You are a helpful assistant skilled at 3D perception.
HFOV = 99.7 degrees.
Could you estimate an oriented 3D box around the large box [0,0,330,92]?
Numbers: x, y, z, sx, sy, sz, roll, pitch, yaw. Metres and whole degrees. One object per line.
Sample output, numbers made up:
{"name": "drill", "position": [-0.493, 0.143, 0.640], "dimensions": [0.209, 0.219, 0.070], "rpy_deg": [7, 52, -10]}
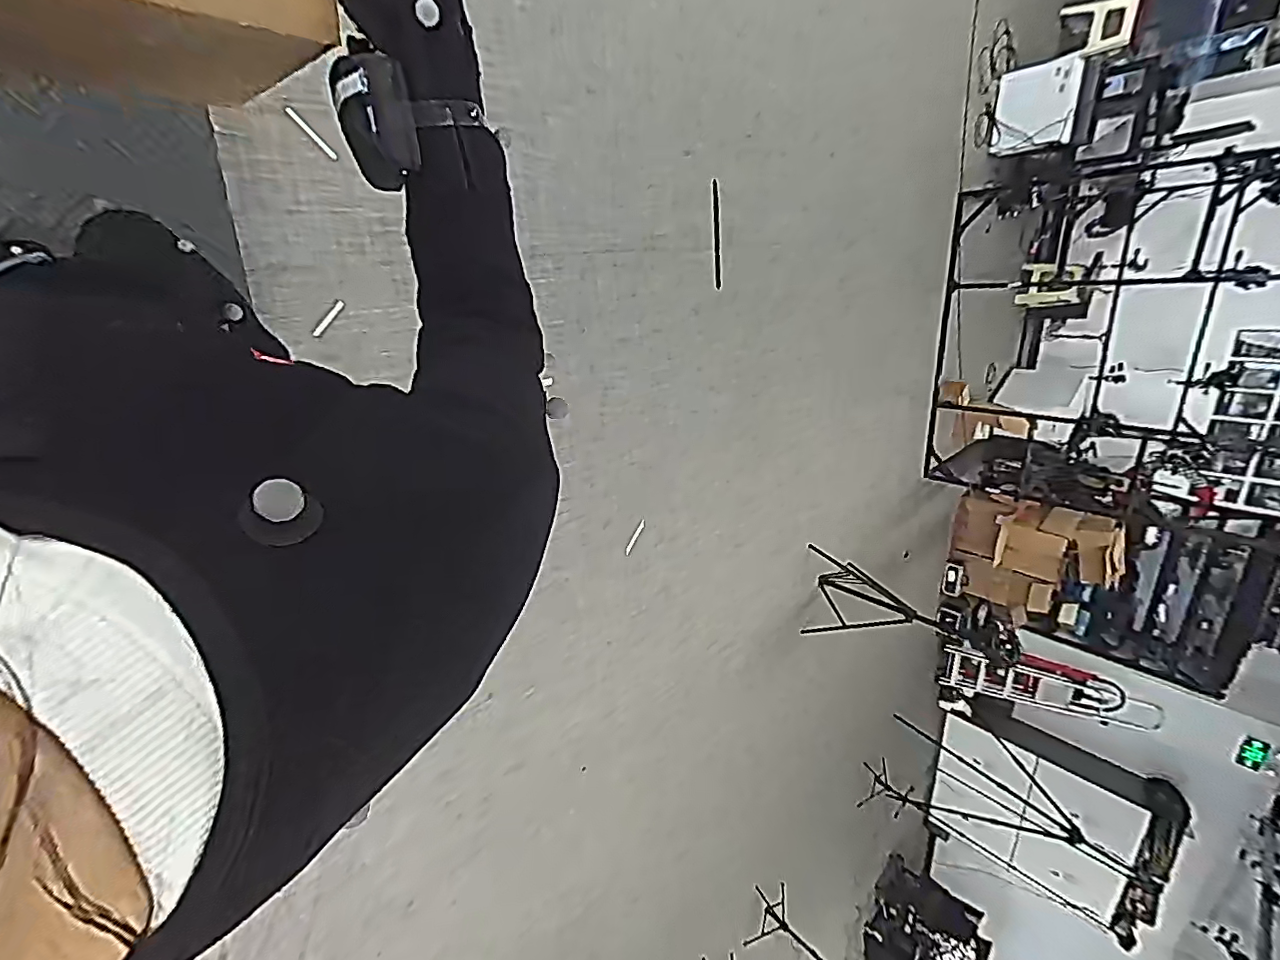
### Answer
{"name": "large box", "position": [-0.424, -0.402, 0.230], "dimensions": [0.408, 0.320, 0.320], "rpy_deg": [-20, 124, -40]}
